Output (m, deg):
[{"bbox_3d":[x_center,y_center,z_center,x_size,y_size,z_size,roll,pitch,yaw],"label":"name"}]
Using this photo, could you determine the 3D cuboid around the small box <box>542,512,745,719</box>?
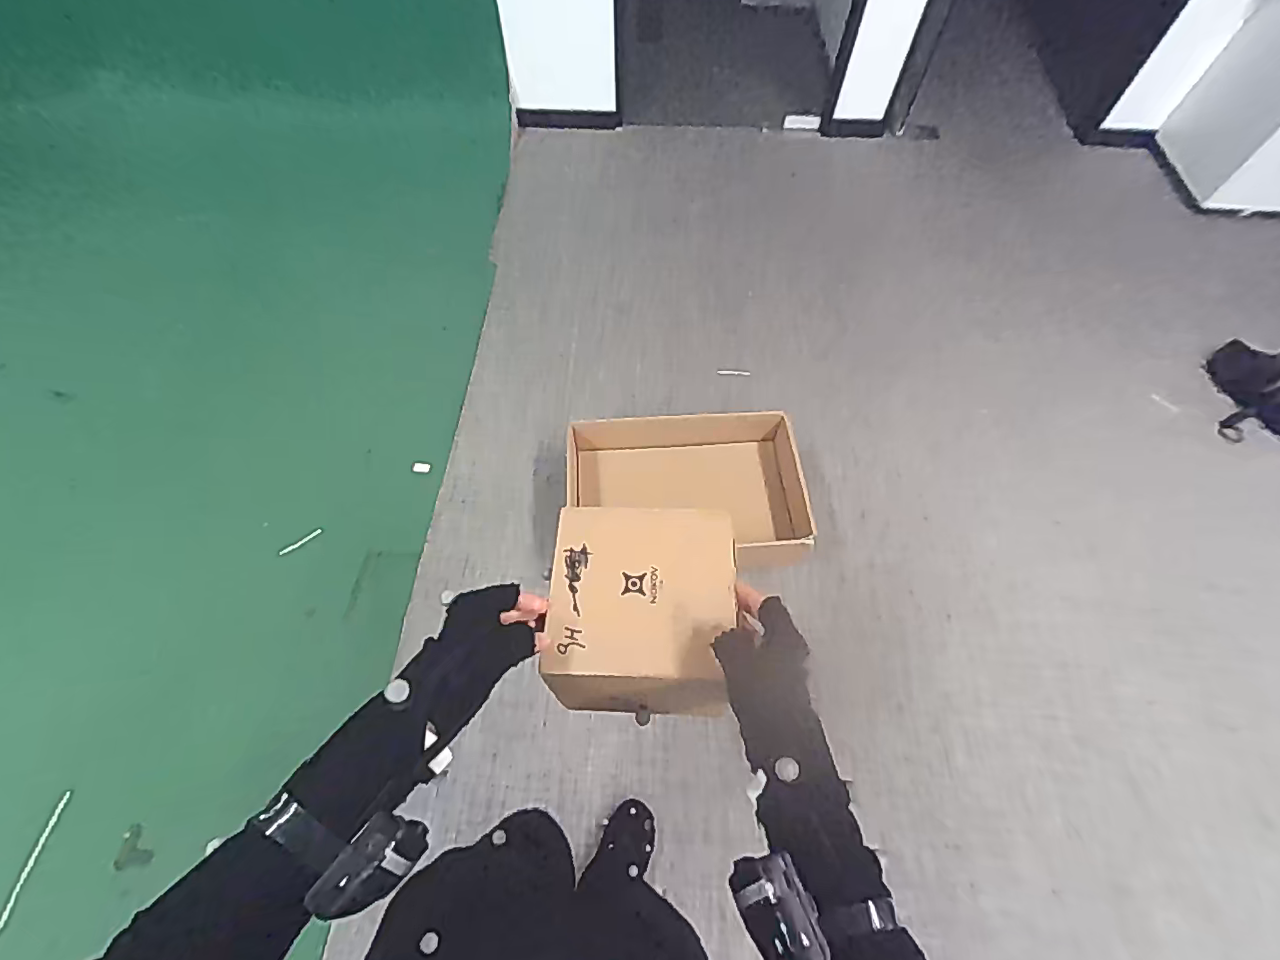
[{"bbox_3d":[0.007,0.148,0.569,0.179,0.176,0.168,2,57,2],"label":"small box"}]
